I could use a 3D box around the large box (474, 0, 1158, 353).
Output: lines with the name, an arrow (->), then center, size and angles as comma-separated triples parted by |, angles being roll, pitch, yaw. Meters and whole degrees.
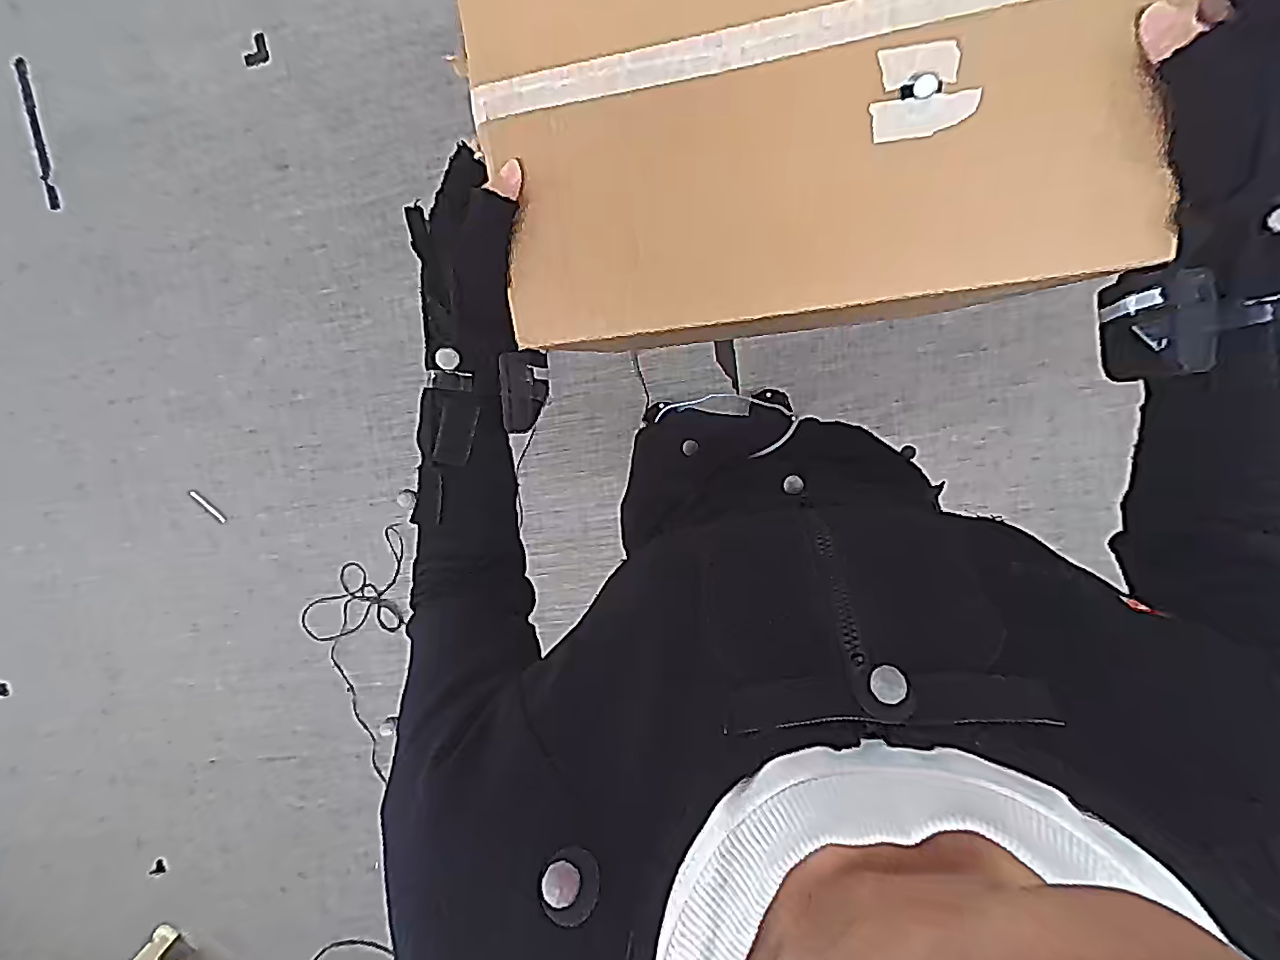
large box -> 0.114, -0.299, 0.478 | 0.408, 0.320, 0.320 | -6, 102, 10
